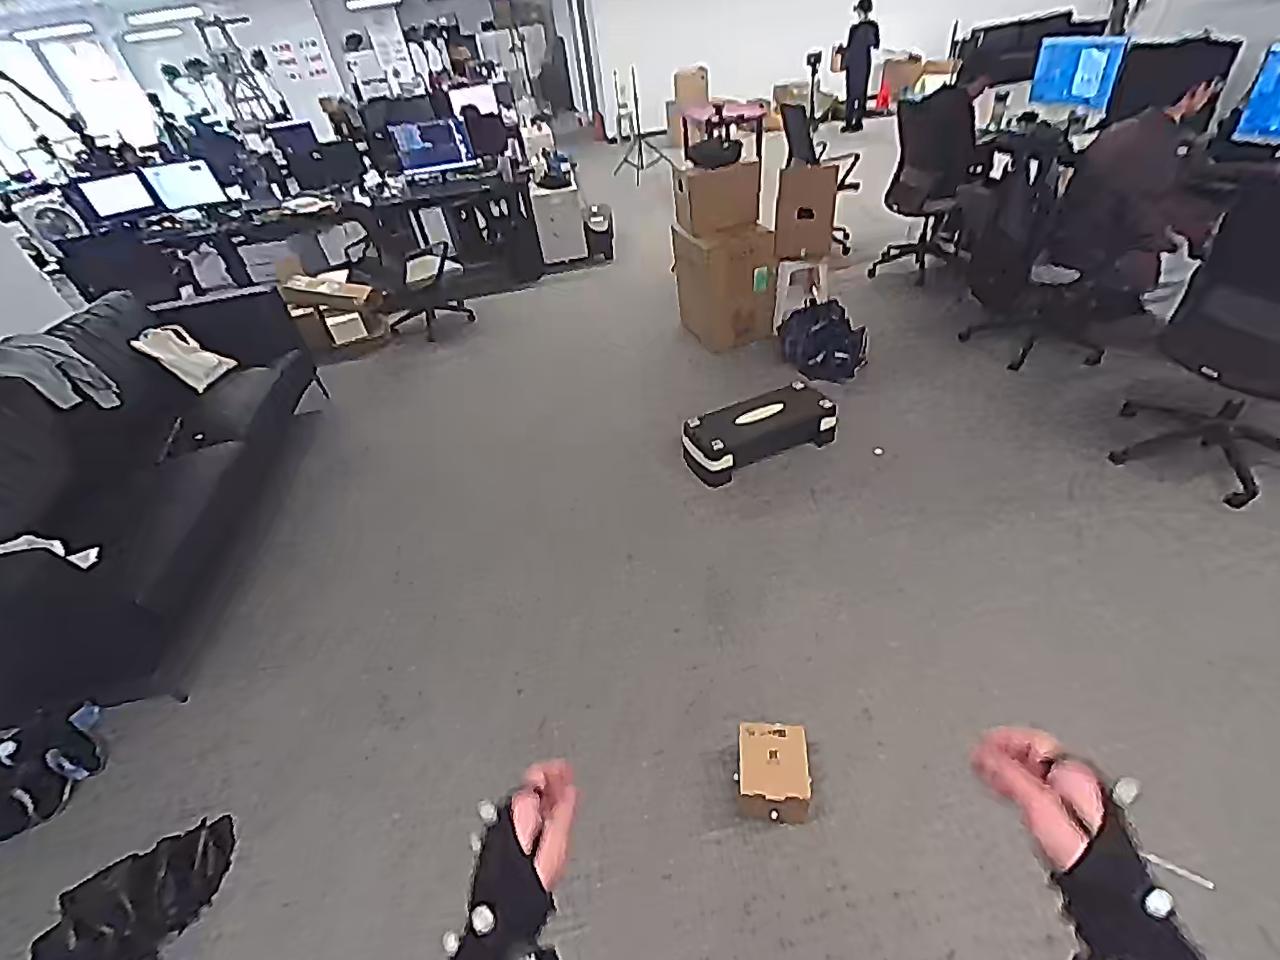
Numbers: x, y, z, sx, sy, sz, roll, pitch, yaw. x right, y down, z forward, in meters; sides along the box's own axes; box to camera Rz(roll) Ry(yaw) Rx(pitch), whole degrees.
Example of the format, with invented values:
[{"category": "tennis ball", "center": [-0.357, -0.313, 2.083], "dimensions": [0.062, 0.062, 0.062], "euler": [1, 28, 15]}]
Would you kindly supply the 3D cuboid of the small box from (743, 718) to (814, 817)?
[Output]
[{"category": "small box", "center": [0.350, 0.735, 1.381], "dimensions": [0.168, 0.176, 0.179], "euler": [-2, 41, 11]}]
